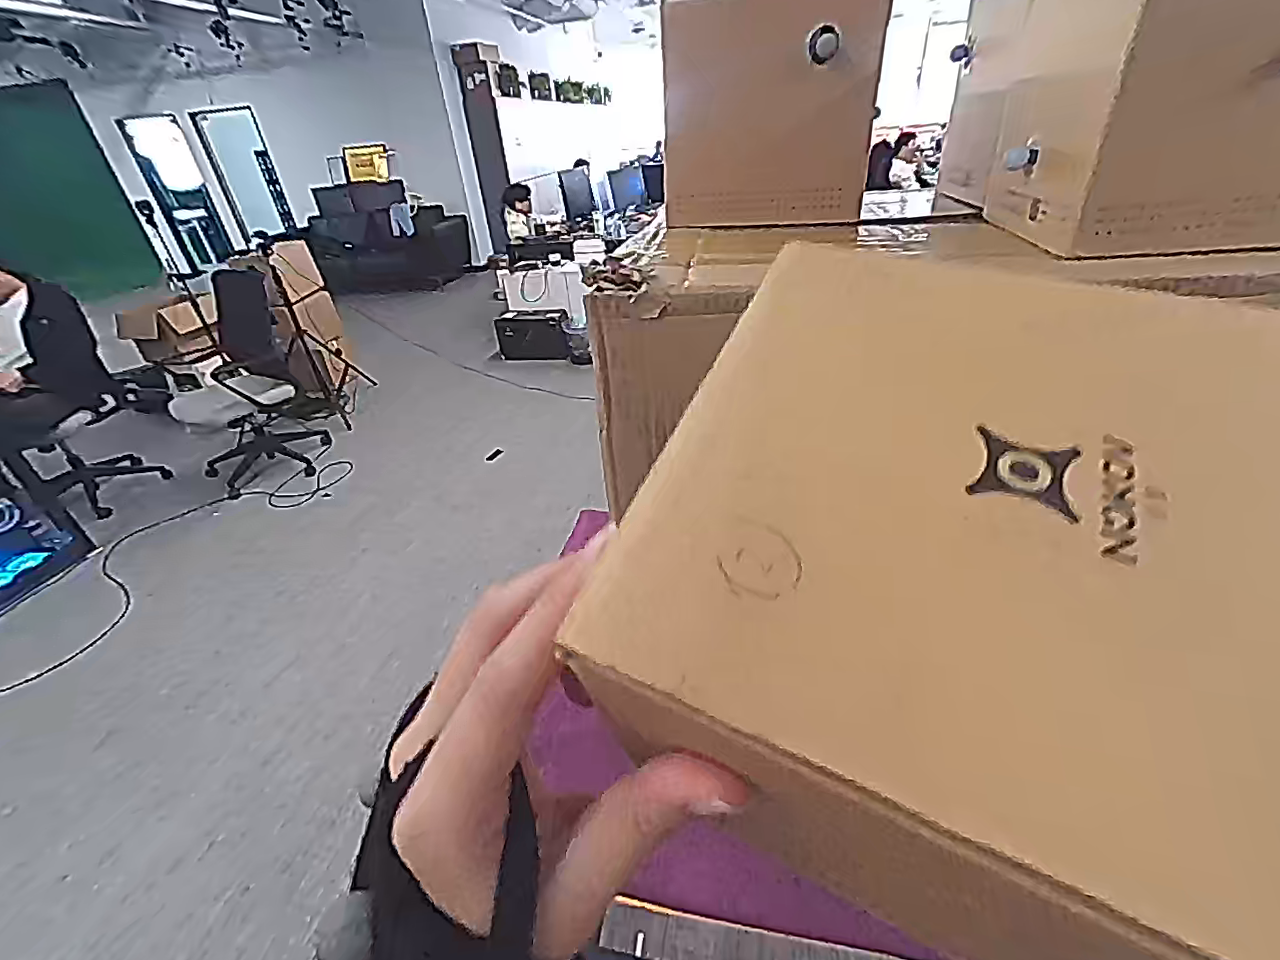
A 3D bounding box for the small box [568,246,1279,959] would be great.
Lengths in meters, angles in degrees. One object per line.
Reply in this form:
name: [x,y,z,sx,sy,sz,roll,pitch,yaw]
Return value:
small box: [0.103,0.049,0.188,0.179,0.176,0.168,19,58,20]
